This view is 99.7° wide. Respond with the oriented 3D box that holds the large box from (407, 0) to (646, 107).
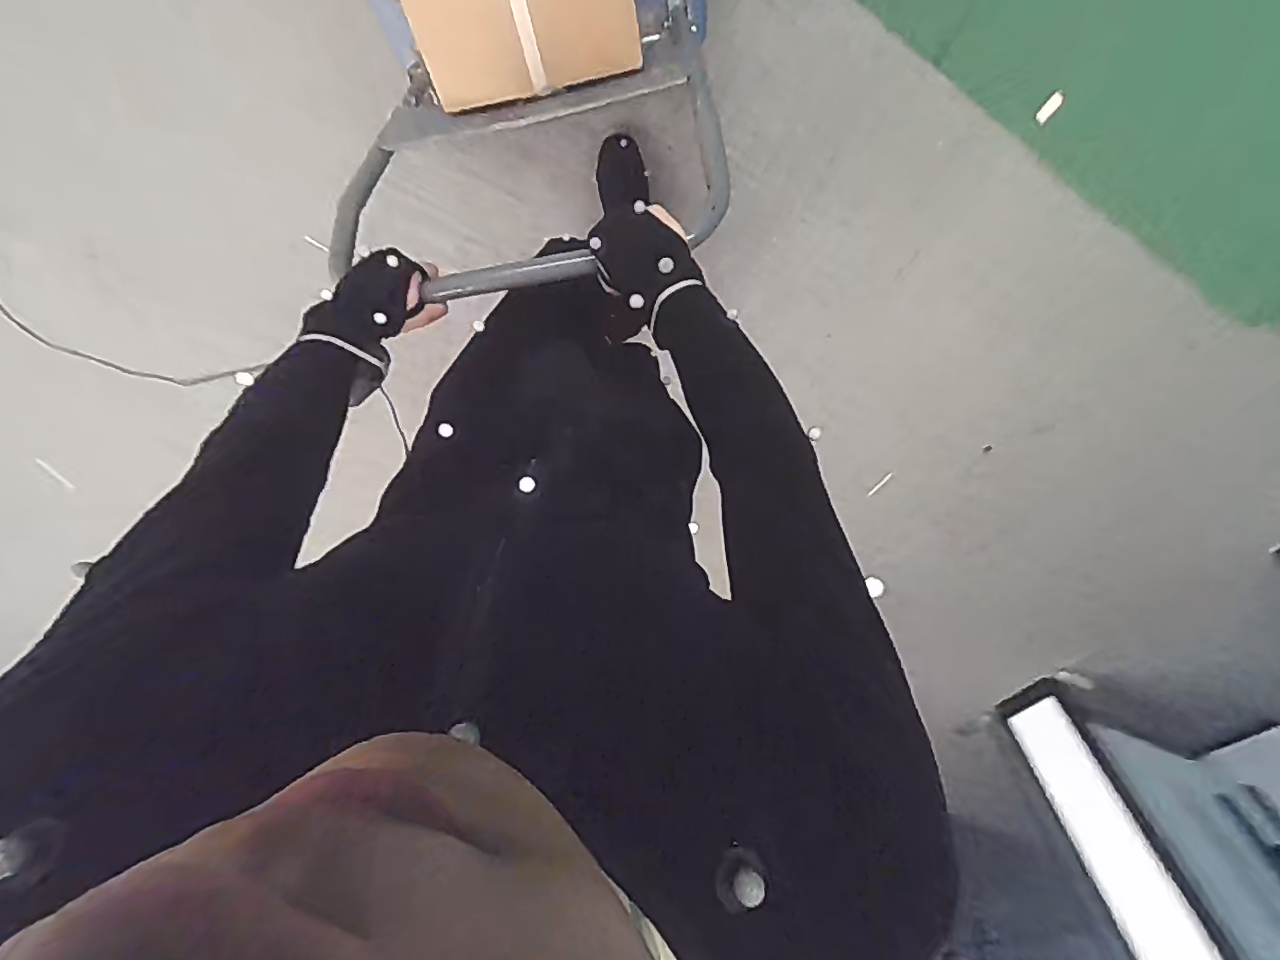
[{"bbox_3d":[-0.178,-0.826,0.757,0.320,0.320,0.408,-8,139,7],"label":"large box"}]
